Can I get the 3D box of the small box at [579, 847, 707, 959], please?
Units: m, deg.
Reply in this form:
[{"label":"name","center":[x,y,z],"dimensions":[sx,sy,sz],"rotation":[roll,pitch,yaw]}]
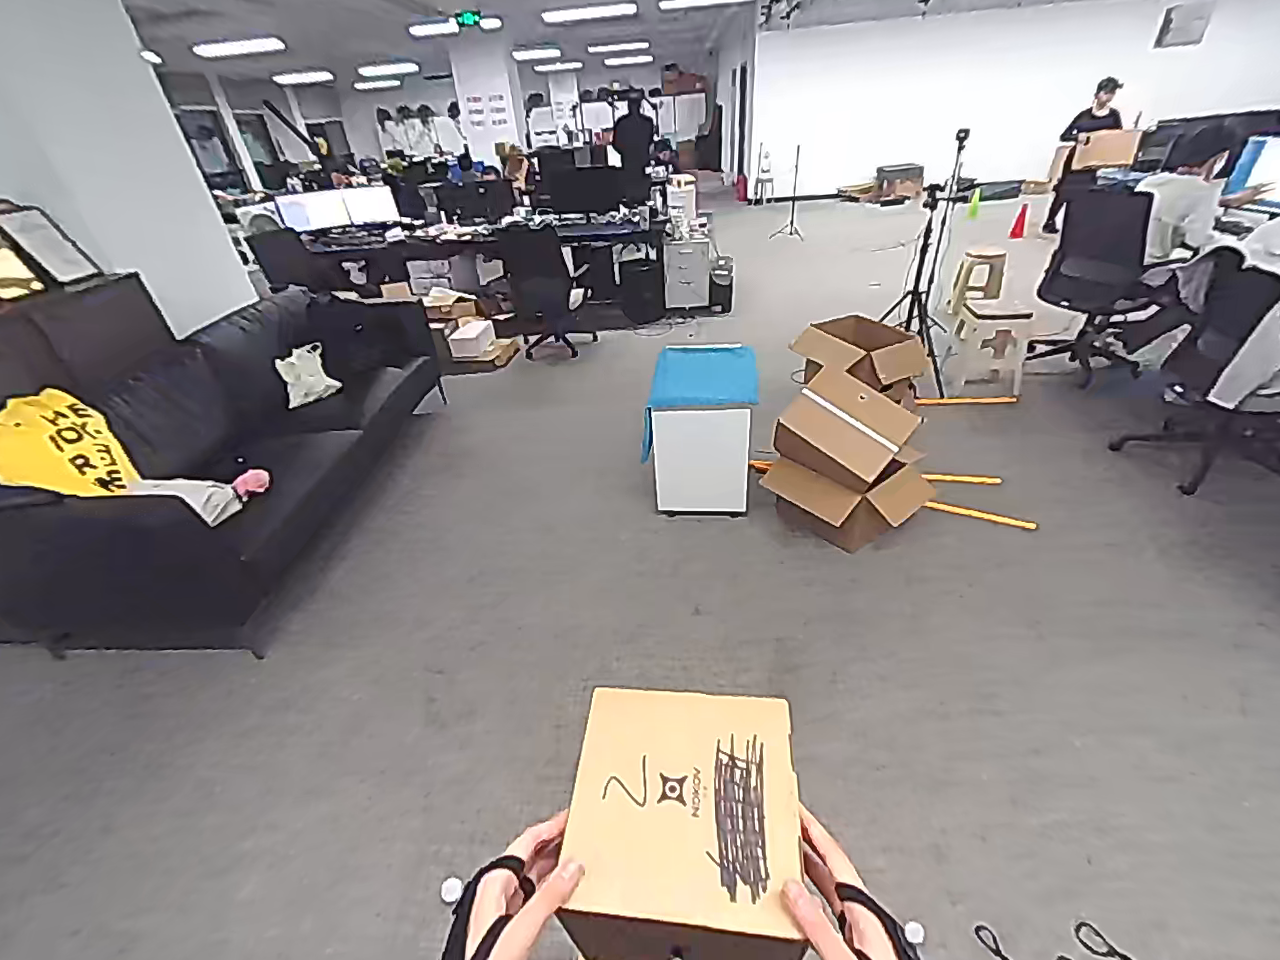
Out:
[{"label":"small box","center":[0.010,0.658,0.770],"dimensions":[0.168,0.176,0.179],"rotation":[-5,35,3]}]
